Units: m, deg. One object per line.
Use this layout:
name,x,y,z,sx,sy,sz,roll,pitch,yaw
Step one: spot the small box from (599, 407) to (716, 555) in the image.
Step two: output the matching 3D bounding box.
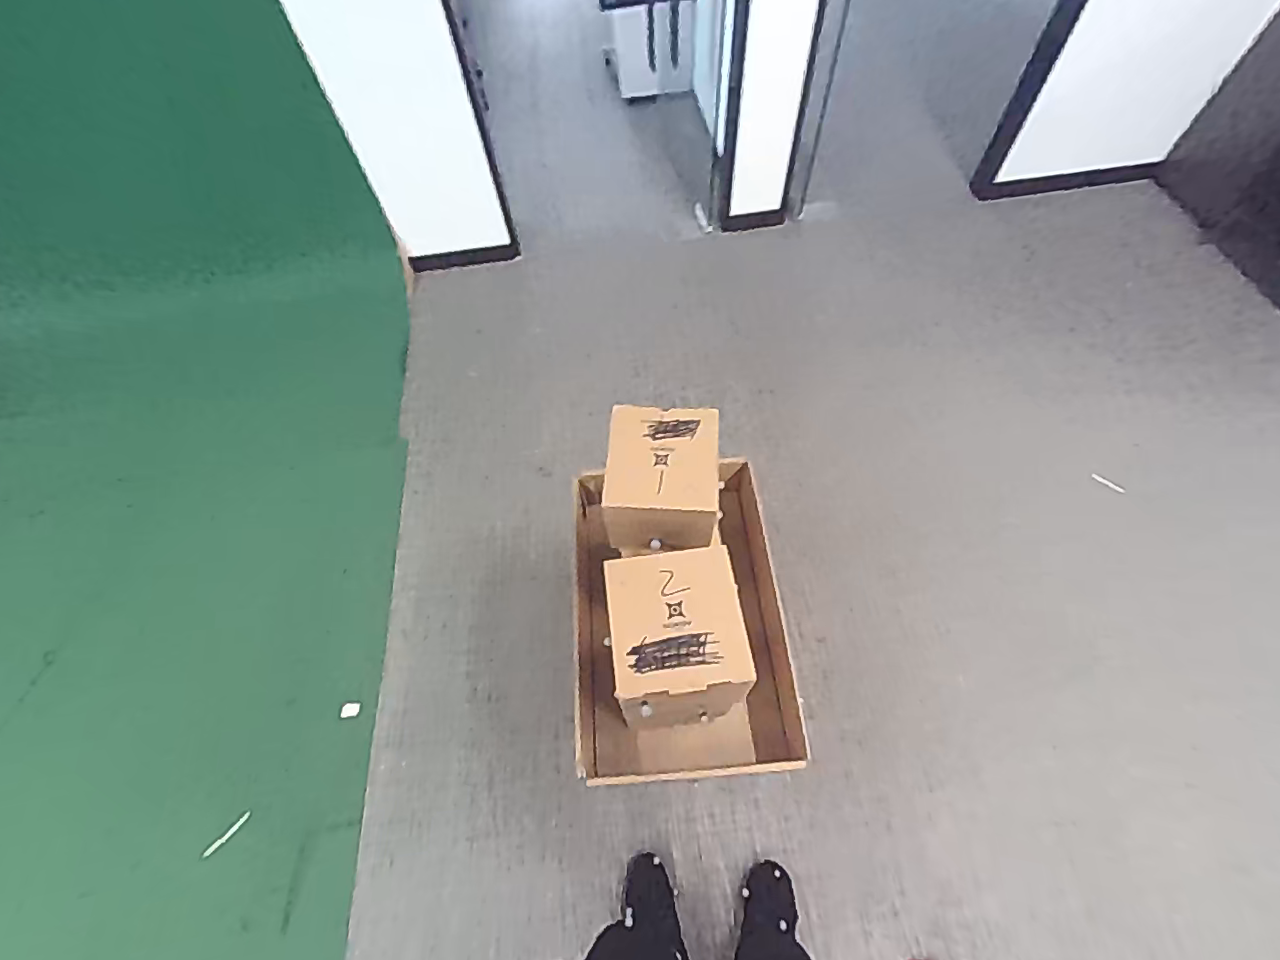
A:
small box,0.032,0.005,0.865,0.168,0.176,0.179,2,62,4

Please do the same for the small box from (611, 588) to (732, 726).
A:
small box,0.047,0.294,0.879,0.168,0.176,0.179,-7,58,-2

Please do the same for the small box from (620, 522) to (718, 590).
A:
small box,0.044,0.089,1.006,0.168,0.176,0.179,-6,61,-1
